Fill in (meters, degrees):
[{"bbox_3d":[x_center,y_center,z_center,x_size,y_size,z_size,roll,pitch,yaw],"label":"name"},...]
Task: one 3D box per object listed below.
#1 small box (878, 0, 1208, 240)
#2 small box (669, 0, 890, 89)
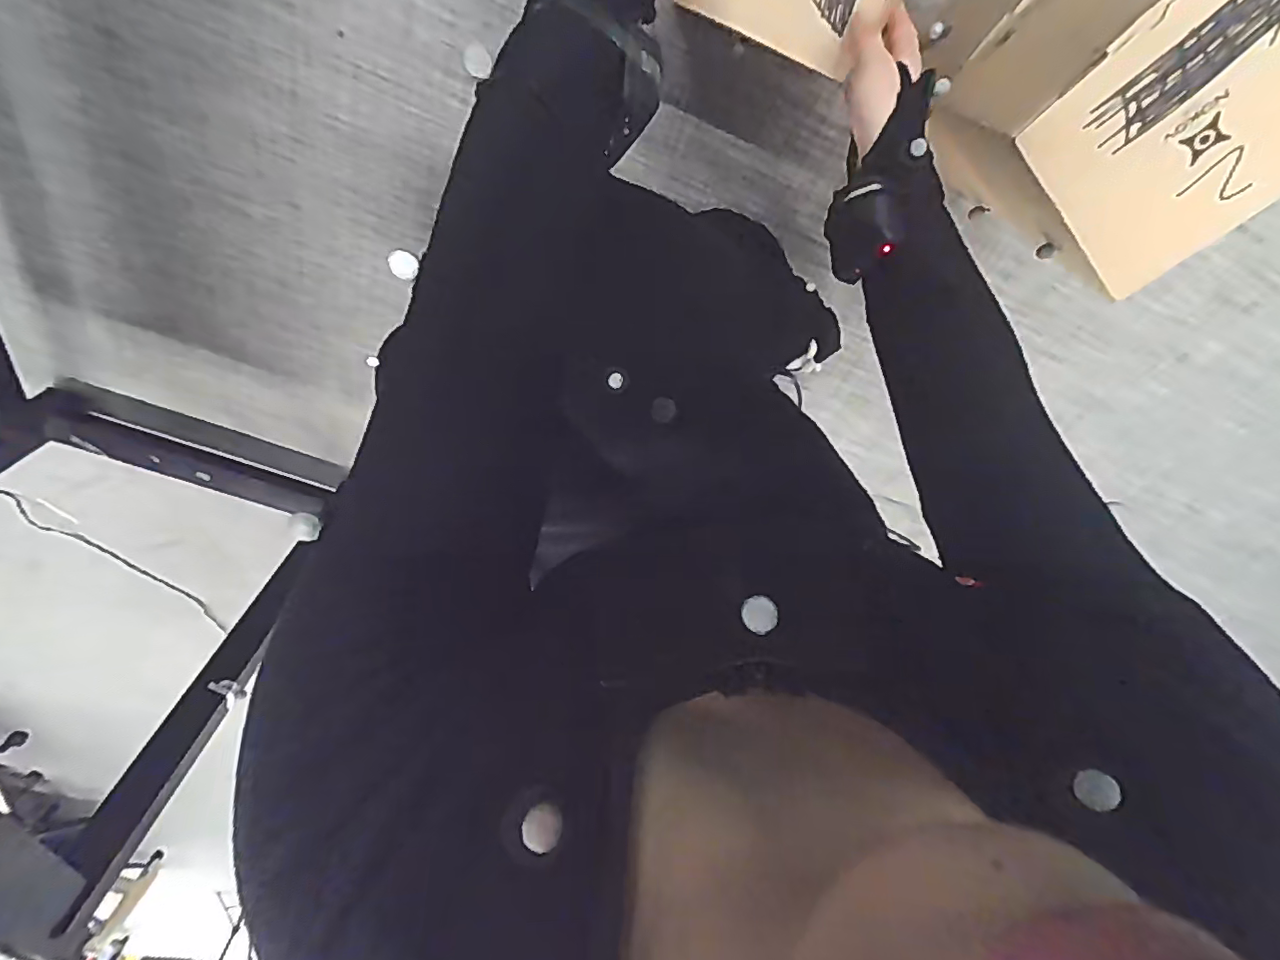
[{"bbox_3d":[0.375,-0.383,0.539,0.179,0.176,0.168,27,129,-17],"label":"small box"},{"bbox_3d":[0.139,-0.486,0.479,0.179,0.176,0.168,19,130,-9],"label":"small box"}]
